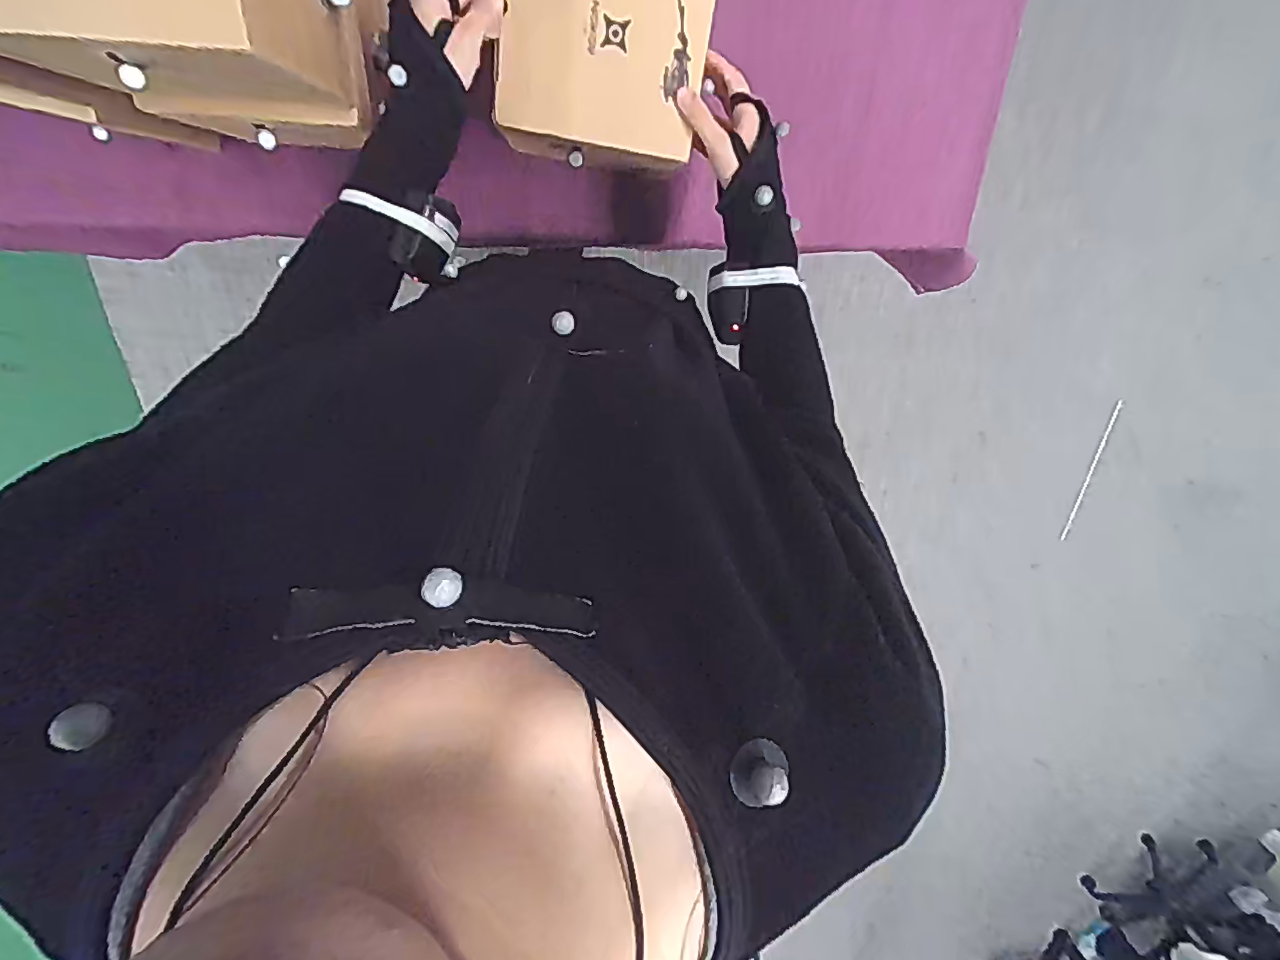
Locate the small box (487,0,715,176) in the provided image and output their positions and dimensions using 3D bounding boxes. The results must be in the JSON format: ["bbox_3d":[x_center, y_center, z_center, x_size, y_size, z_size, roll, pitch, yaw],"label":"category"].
[{"bbox_3d":[-0.036,-0.401,0.510,0.179,0.176,0.168,7,113,-9],"label":"small box"}]
